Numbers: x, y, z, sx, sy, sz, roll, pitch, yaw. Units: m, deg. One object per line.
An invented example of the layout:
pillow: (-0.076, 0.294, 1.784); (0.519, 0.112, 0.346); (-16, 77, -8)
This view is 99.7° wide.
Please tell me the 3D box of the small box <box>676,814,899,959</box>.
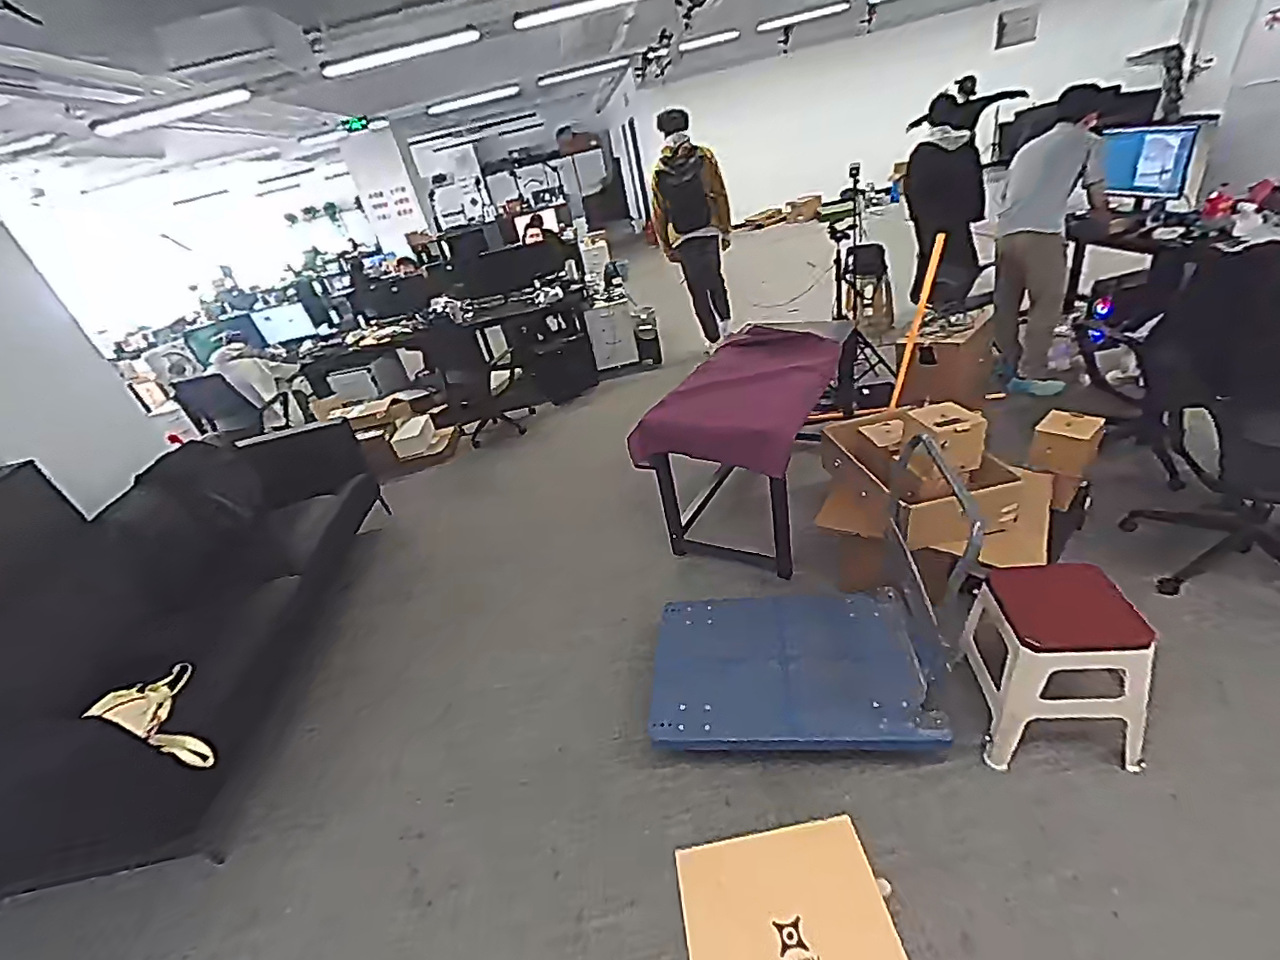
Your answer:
small box: (0.134, 0.439, 0.478); (0.168, 0.176, 0.179); (-13, 32, 2)
